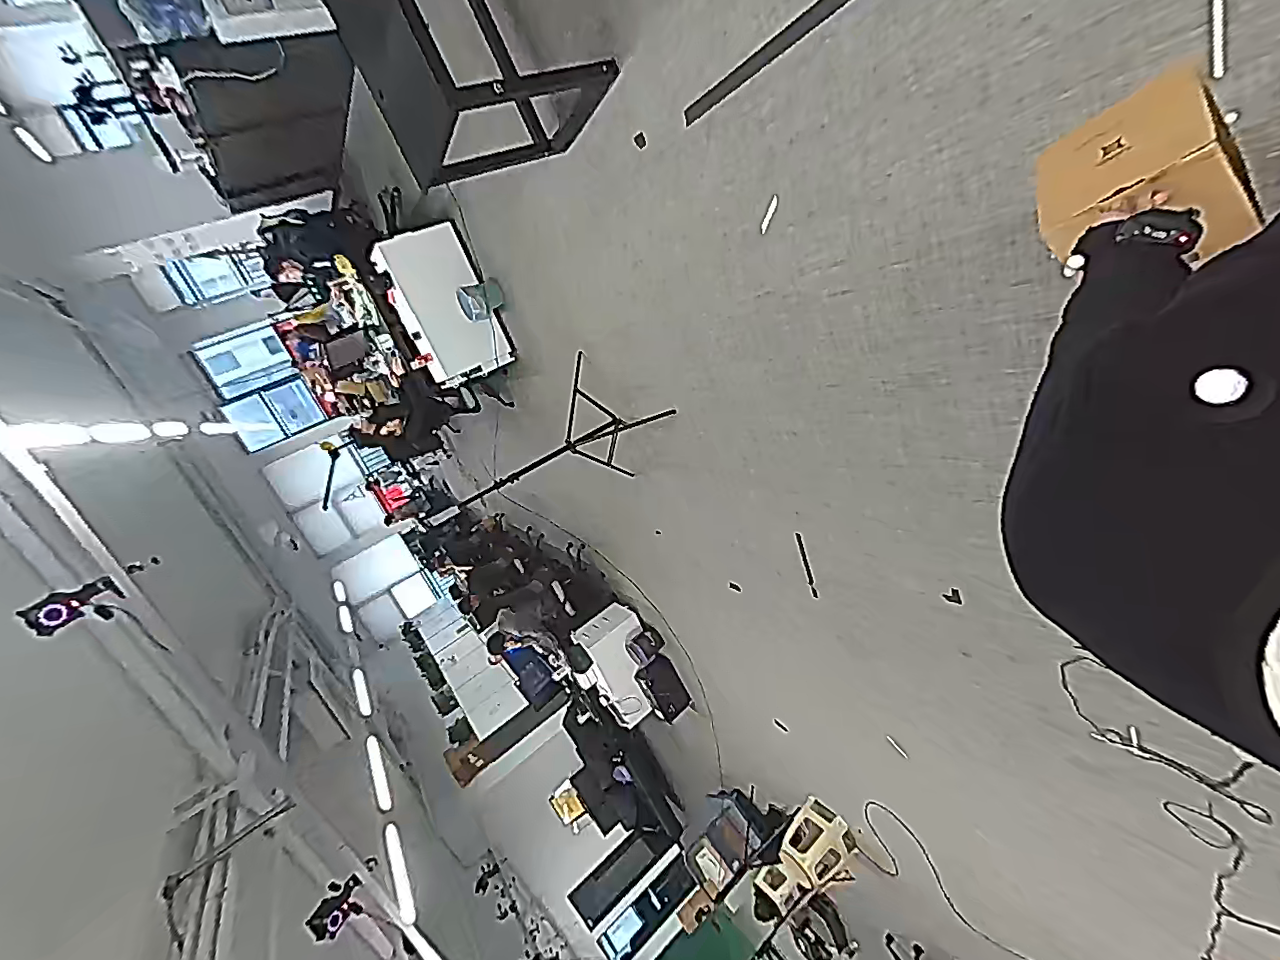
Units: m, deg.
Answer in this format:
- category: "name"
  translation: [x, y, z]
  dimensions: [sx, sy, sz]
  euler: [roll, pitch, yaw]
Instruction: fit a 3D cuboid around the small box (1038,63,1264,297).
- category: "small box"
  translation: [0.650, -0.367, 0.699]
  dimensions: [0.176, 0.179, 0.168]
  euler: [31, 152, -23]
